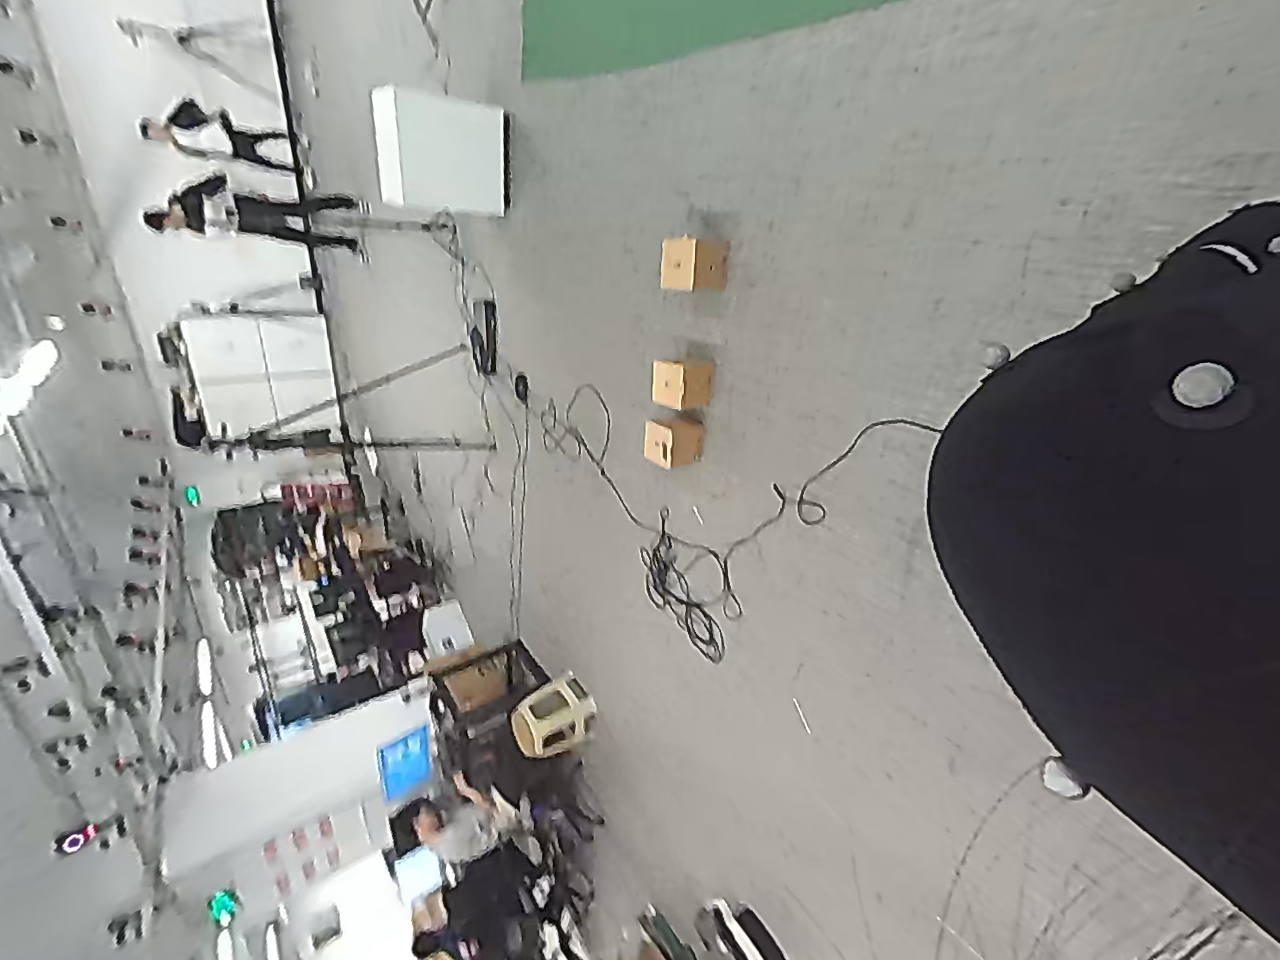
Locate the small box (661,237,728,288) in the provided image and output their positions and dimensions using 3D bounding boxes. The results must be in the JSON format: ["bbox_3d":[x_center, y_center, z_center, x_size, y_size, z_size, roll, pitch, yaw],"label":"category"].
[{"bbox_3d":[0.198,-0.781,1.942,0.179,0.176,0.168,26,121,46],"label":"small box"}]

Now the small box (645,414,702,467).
[{"bbox_3d":[0.140,-0.170,2.238,0.179,0.176,0.168,30,125,46],"label":"small box"}]

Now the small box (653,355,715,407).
[{"bbox_3d":[0.171,-0.393,2.118,0.179,0.176,0.168,25,122,46],"label":"small box"}]
